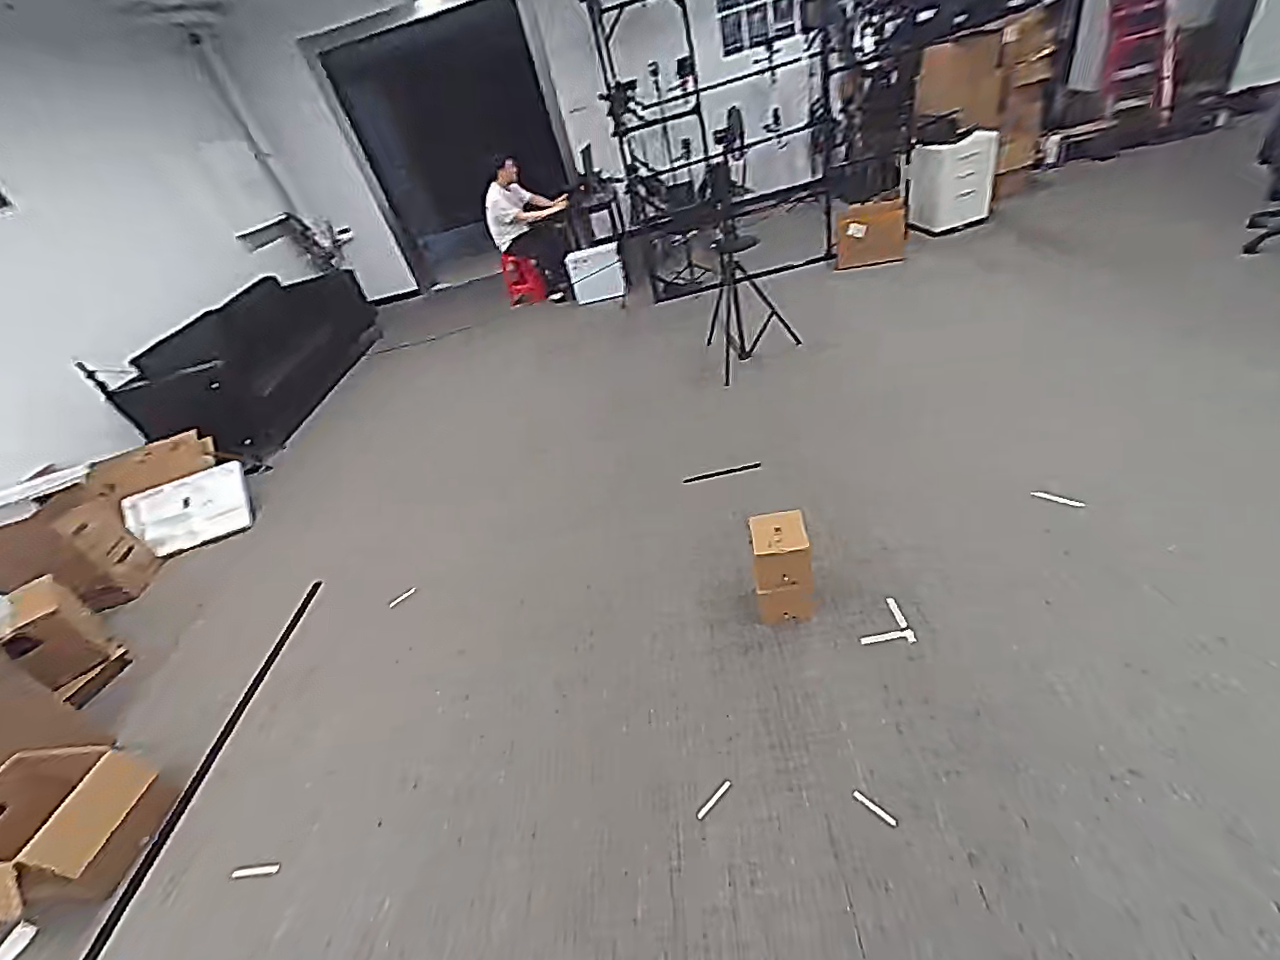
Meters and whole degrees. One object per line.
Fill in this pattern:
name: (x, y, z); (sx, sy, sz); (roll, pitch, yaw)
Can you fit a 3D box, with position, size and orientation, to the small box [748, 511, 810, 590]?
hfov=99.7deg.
small box: (0.443, 0.226, 1.729); (0.168, 0.176, 0.179); (-10, 37, 11)
